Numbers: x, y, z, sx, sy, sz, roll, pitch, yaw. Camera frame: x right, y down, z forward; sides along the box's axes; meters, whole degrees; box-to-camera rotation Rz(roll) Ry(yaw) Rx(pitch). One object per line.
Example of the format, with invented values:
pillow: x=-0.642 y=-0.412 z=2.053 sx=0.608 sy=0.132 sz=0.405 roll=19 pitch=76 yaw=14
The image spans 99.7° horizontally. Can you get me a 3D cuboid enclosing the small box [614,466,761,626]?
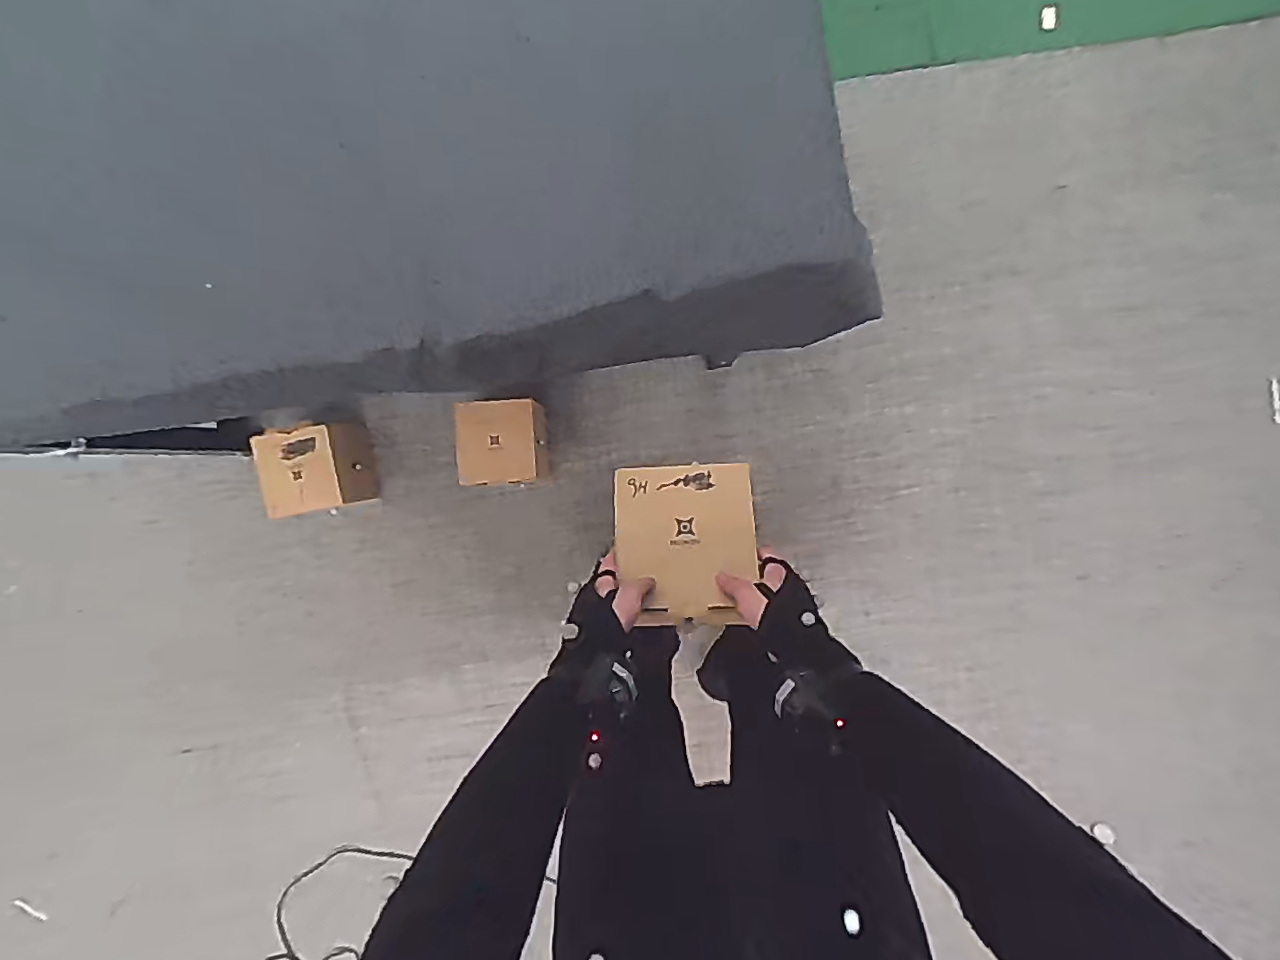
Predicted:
small box: x=0.060 y=0.095 z=0.700 sx=0.168 sy=0.176 sz=0.179 roll=-4 pitch=71 yaw=4

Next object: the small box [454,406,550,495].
small box: x=-0.300 y=-0.064 z=1.203 sx=0.168 sy=0.176 sz=0.179 roll=-5 pitch=91 yaw=-1

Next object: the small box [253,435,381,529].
small box: x=-0.709 y=0.002 z=1.204 sx=0.168 sy=0.176 sz=0.179 roll=-11 pitch=93 yaw=1
